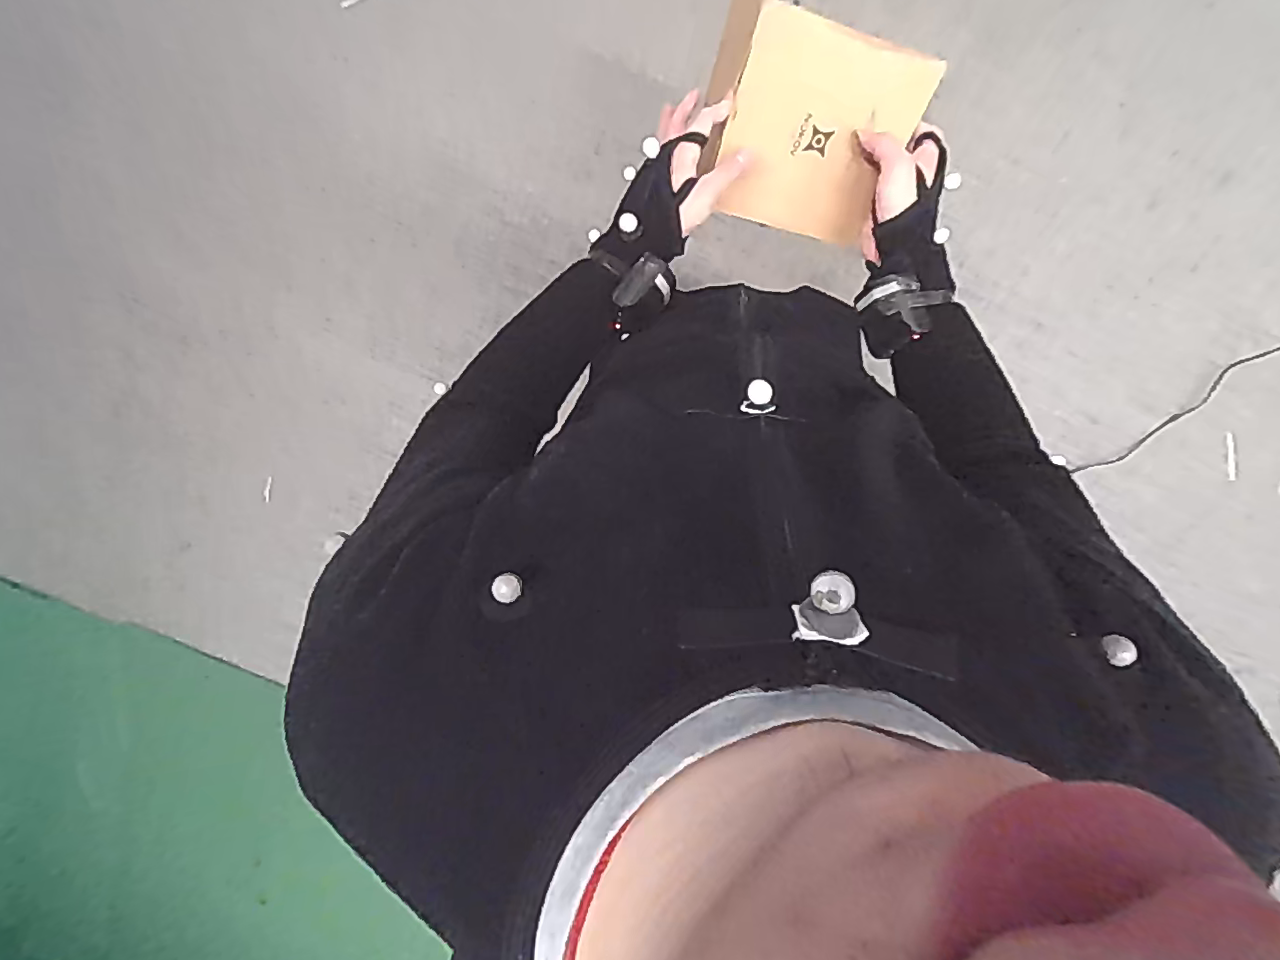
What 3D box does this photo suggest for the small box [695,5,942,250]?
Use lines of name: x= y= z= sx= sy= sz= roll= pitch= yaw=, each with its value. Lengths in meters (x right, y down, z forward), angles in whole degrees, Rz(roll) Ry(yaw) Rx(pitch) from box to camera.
small box: x=0.165 y=-0.375 z=0.575 sx=0.179 sy=0.176 sz=0.168 roll=8 pitch=135 yaw=-10
